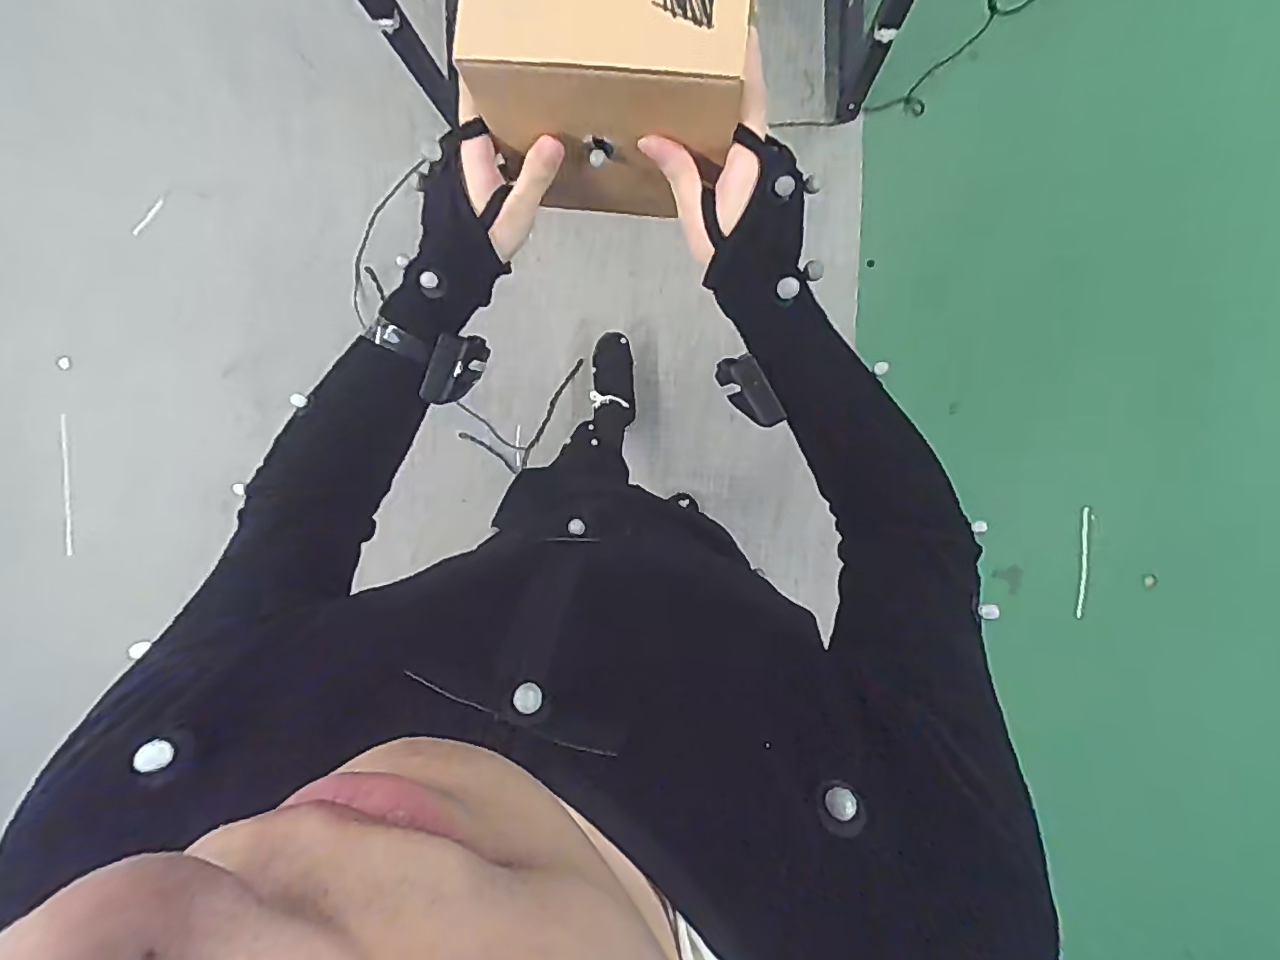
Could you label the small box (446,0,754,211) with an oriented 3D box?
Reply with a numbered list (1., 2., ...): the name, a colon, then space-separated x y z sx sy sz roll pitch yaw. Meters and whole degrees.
1. small box: -0.012 -0.317 0.388 0.179 0.176 0.168 7 89 5
